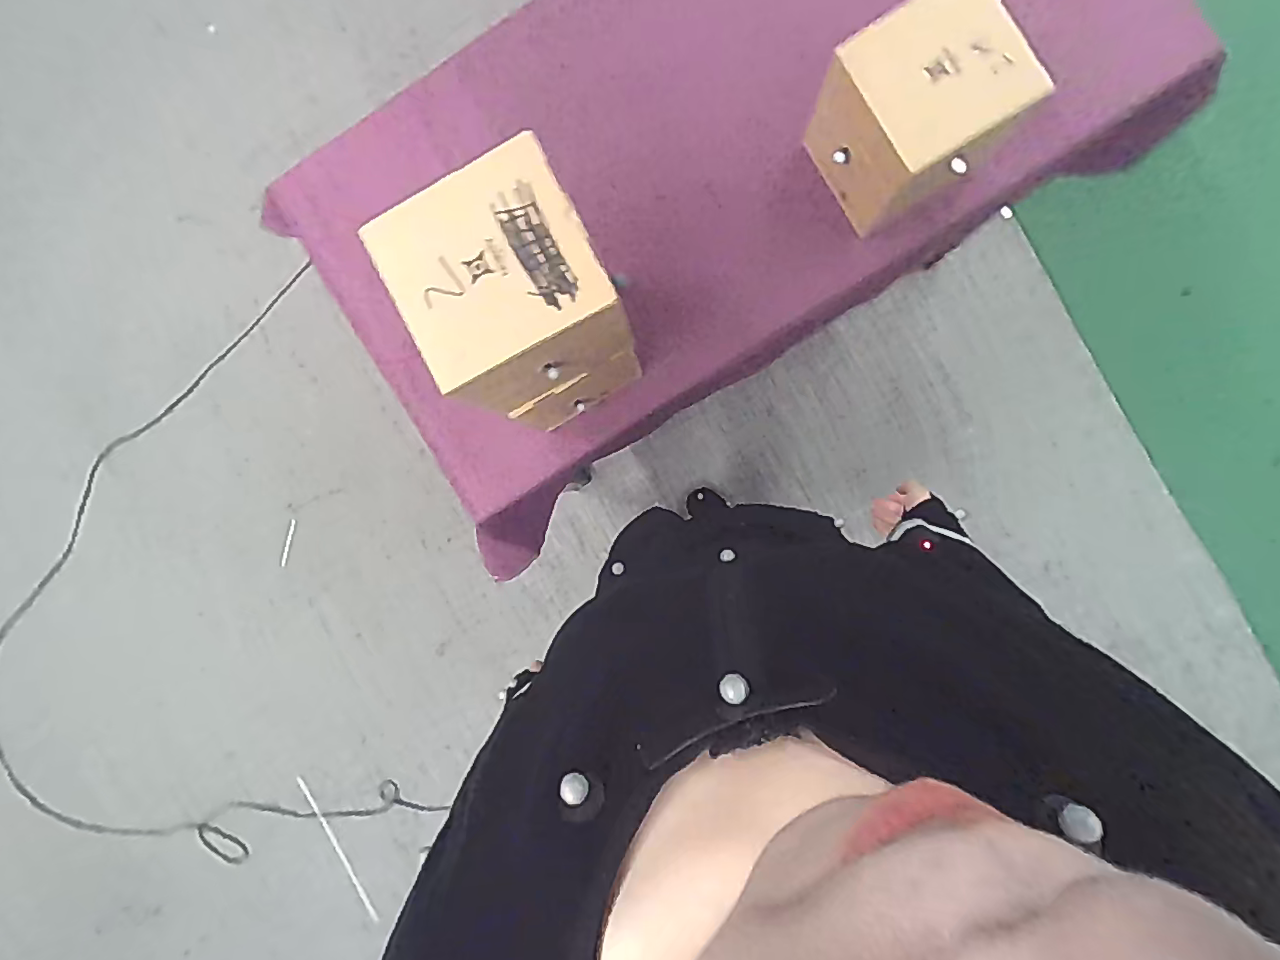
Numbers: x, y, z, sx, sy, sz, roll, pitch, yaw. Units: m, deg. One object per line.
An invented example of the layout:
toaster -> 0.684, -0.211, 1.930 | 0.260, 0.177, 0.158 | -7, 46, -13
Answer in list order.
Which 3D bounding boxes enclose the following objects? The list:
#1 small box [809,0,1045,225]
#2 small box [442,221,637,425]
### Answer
small box -> 0.328, -0.455, 0.667 | 0.179, 0.176, 0.168 | -31, 89, 4
small box -> -0.118, -0.188, 0.705 | 0.168, 0.176, 0.179 | -31, 89, 4
